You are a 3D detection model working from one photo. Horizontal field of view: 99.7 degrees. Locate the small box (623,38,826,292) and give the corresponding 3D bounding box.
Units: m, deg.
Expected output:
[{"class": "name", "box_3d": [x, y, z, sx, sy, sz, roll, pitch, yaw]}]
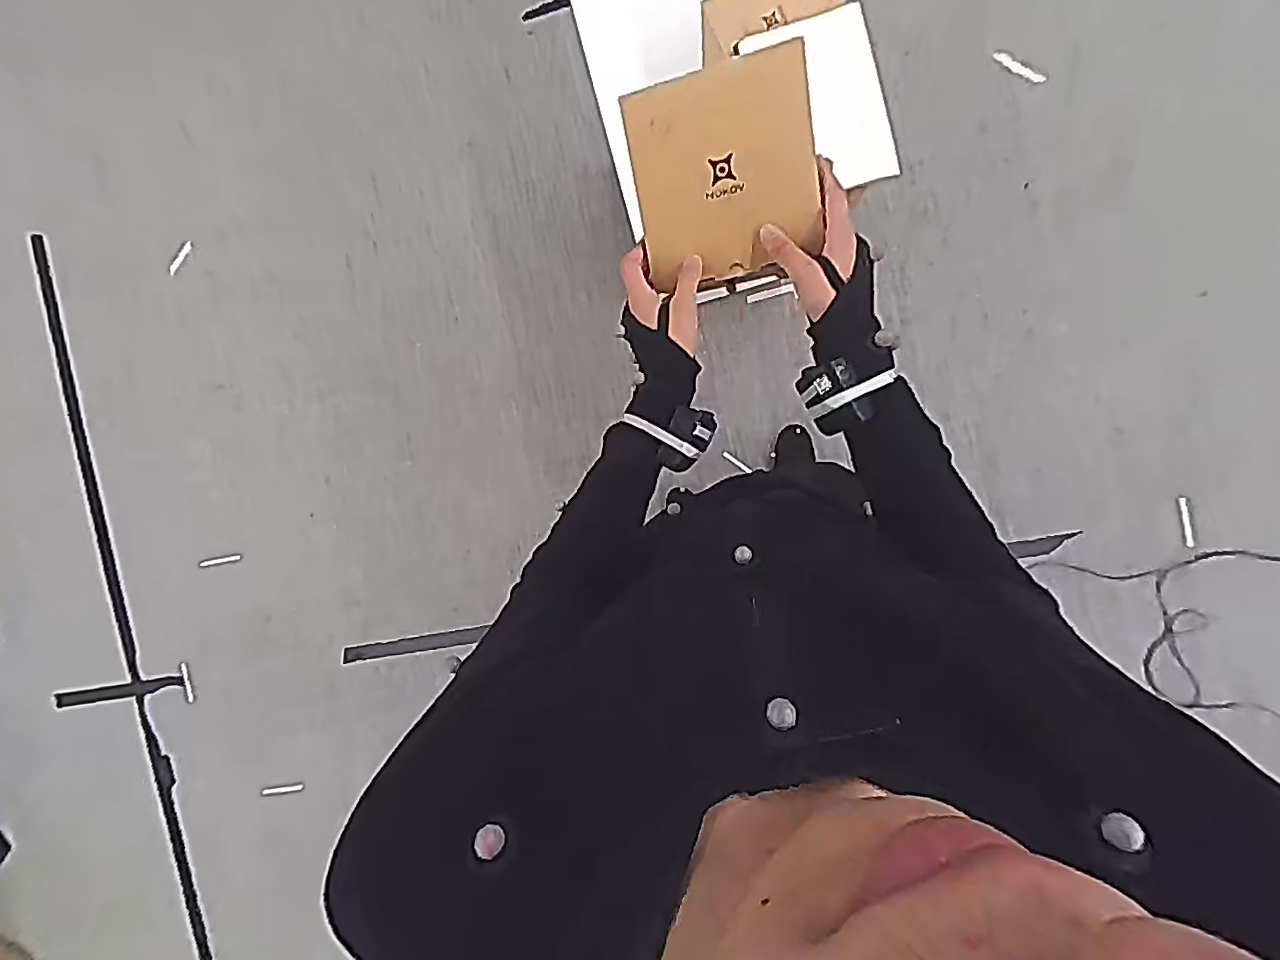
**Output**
[{"class": "small box", "box_3d": [0.093, -0.304, 0.569, 0.168, 0.176, 0.179, -8, 107, 15]}]
